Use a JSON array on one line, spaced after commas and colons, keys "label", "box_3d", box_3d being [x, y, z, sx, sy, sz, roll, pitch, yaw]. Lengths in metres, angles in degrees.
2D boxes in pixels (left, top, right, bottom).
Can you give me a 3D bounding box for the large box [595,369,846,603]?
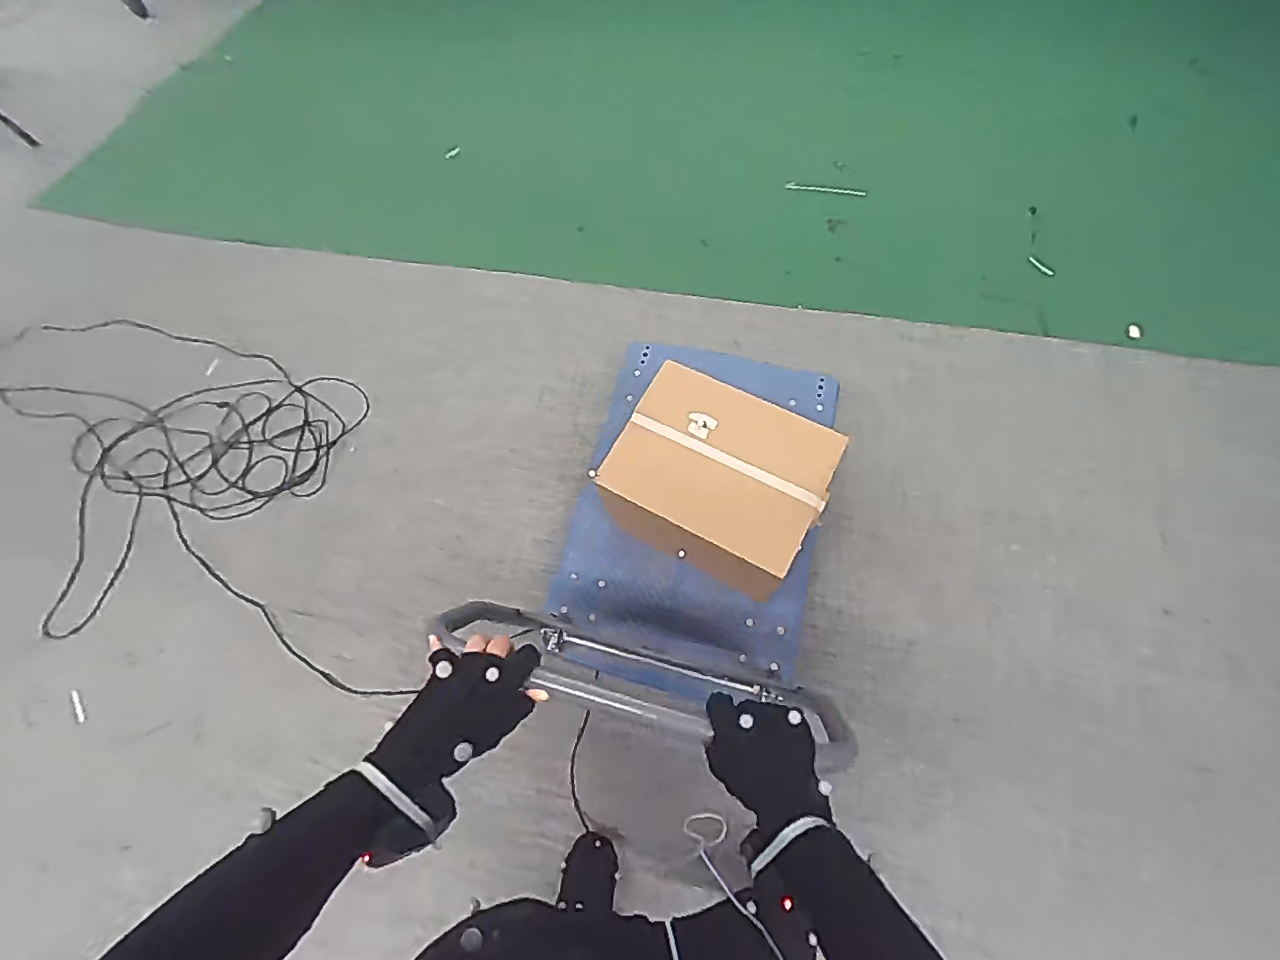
[{"label": "large box", "box_3d": [0.171, 0.027, 1.185, 0.408, 0.320, 0.320, 27, 74, 15]}]
